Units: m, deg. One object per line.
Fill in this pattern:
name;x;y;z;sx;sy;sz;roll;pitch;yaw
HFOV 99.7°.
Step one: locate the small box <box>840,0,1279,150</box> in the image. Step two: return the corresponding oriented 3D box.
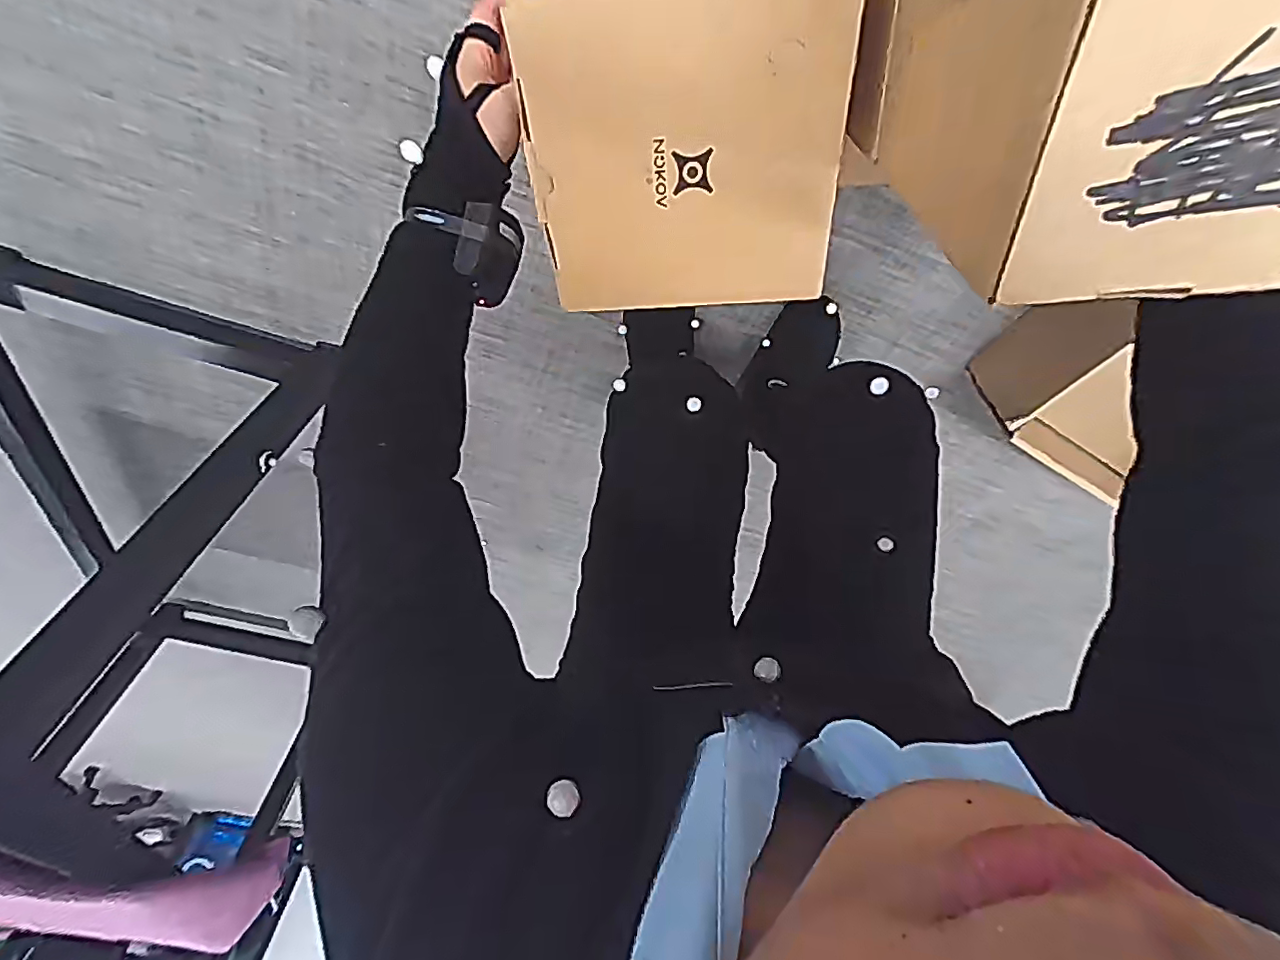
small box;0.208;-0.297;0.277;0.168;0.176;0.179;-2;134;9
